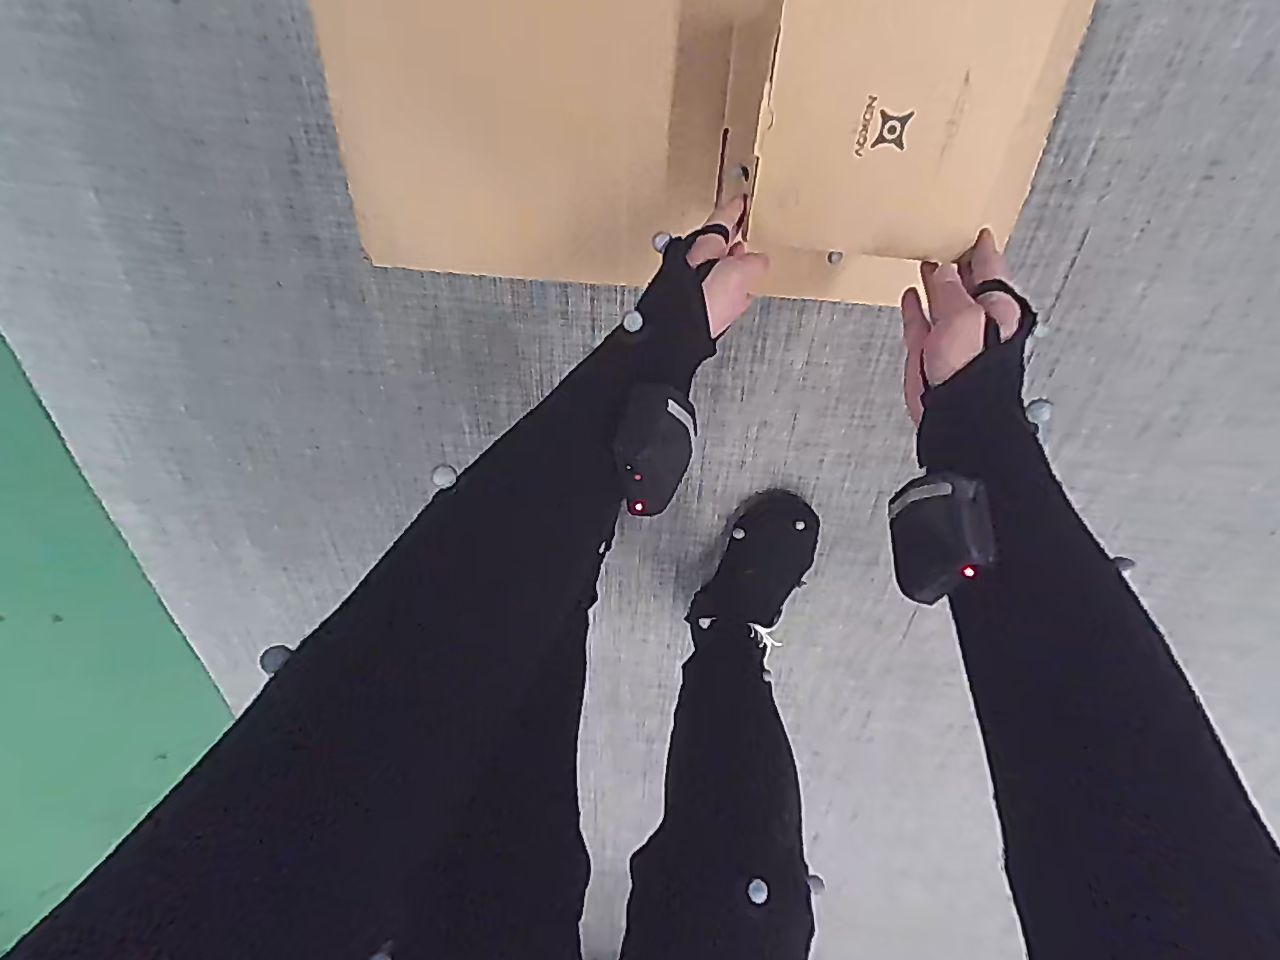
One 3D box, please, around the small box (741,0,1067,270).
[{"bbox_3d":[0.184,-0.285,0.450,0.179,0.176,0.168,7,123,3],"label":"small box"}]
